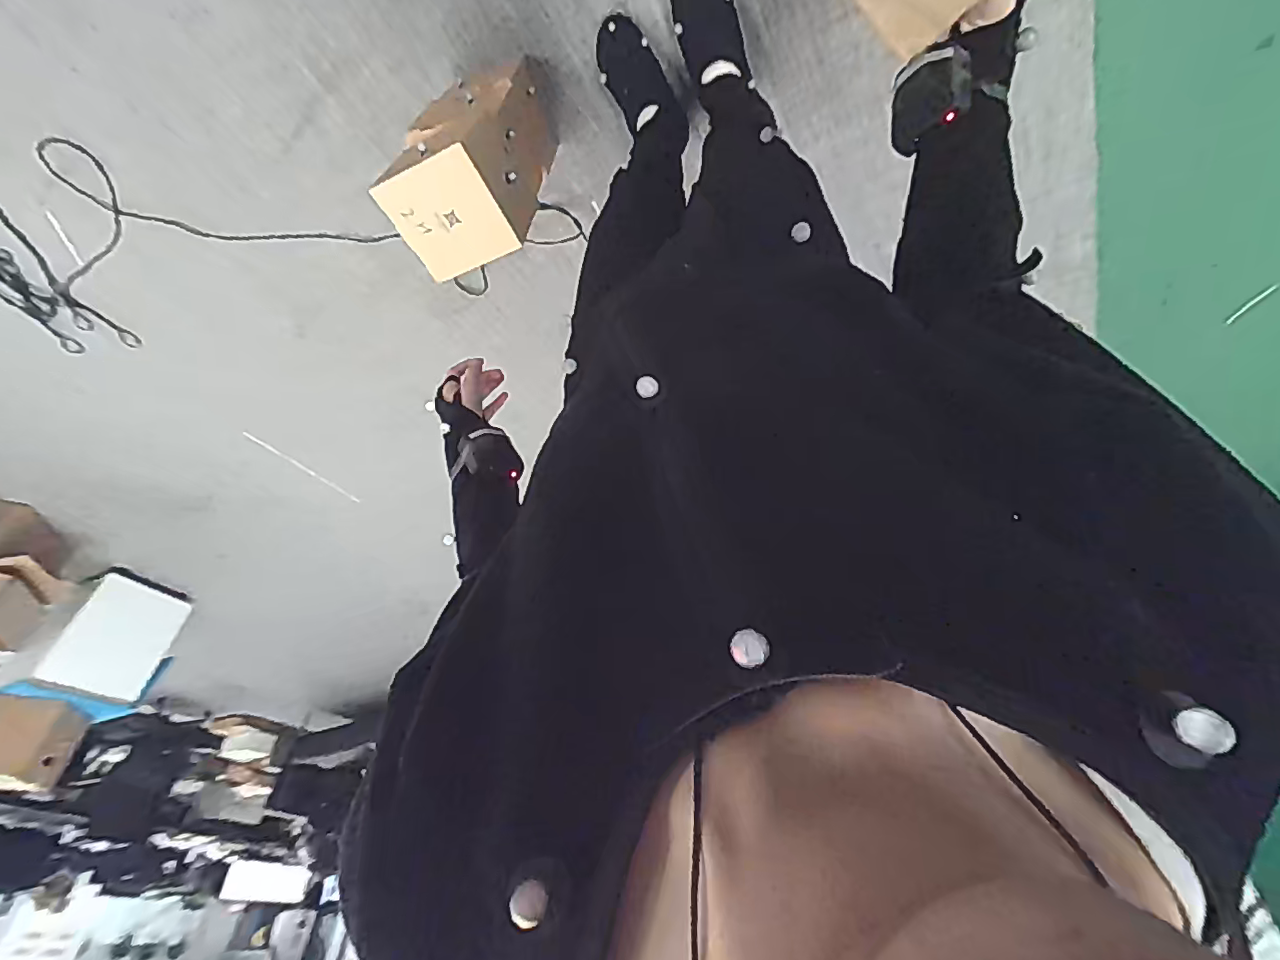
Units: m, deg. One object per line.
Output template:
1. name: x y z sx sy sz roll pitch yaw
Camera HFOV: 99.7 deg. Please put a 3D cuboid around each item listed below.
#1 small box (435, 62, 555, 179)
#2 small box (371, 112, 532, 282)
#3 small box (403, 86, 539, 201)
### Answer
1. small box: -0.286 -0.716 1.099 0.168 0.176 0.179 -9 139 13
2. small box: -0.294 -0.466 0.890 0.179 0.176 0.168 -13 136 19
3. small box: -0.297 -0.590 0.999 0.168 0.176 0.179 -5 139 10
